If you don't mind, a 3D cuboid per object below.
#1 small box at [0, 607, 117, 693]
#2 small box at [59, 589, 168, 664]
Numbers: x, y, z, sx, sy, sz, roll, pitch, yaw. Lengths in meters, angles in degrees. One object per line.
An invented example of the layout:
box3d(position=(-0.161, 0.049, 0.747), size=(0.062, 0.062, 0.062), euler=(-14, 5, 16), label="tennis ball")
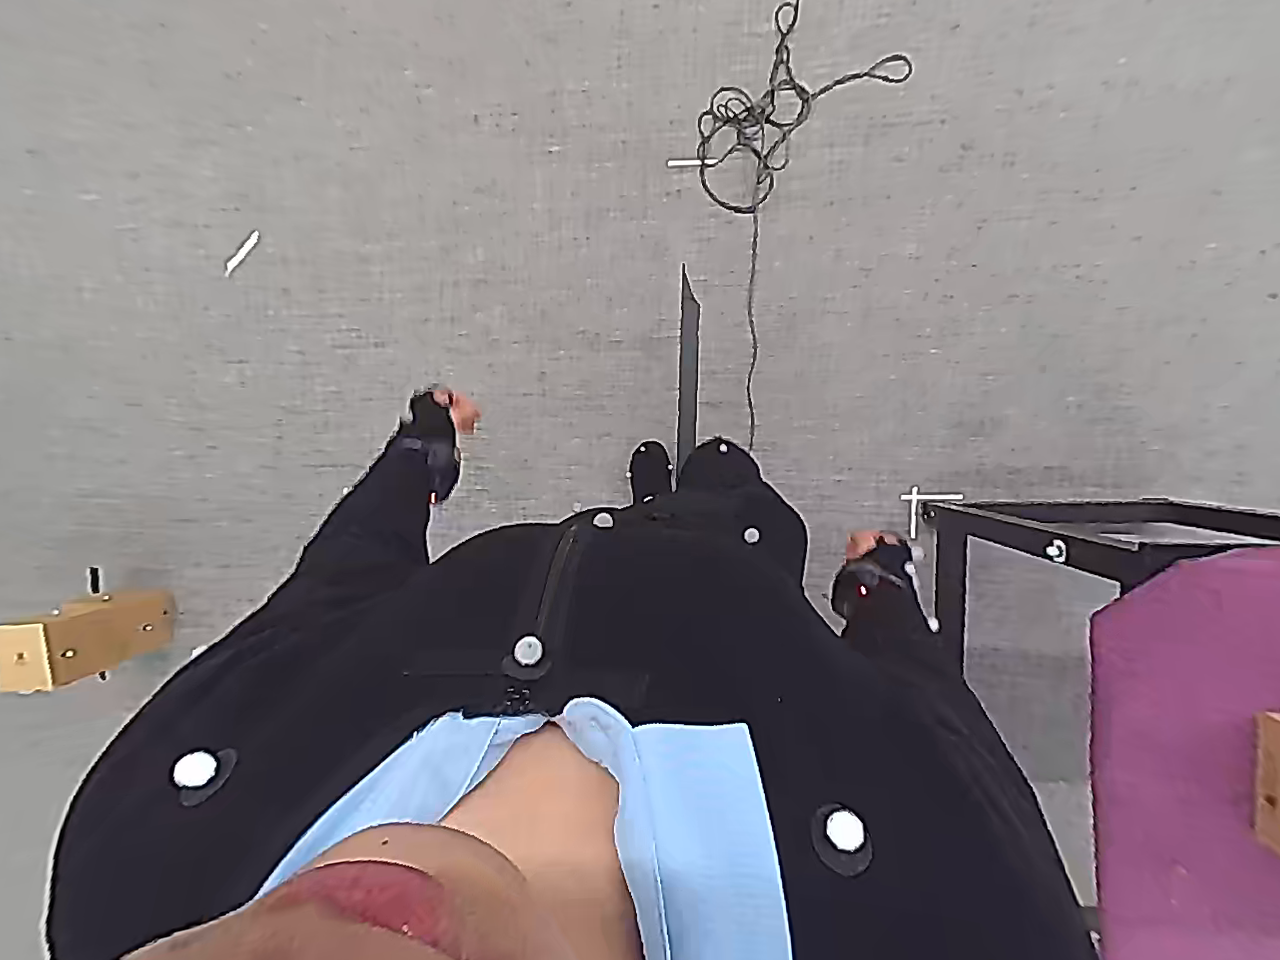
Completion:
box3d(position=(-1.558, 0.444, 1.440), size=(0.168, 0.176, 0.179), euler=(-5, 94, 6), label="small box")
box3d(position=(-1.550, 0.428, 1.602), size=(0.179, 0.176, 0.168), euler=(4, 94, 6), label="small box")
